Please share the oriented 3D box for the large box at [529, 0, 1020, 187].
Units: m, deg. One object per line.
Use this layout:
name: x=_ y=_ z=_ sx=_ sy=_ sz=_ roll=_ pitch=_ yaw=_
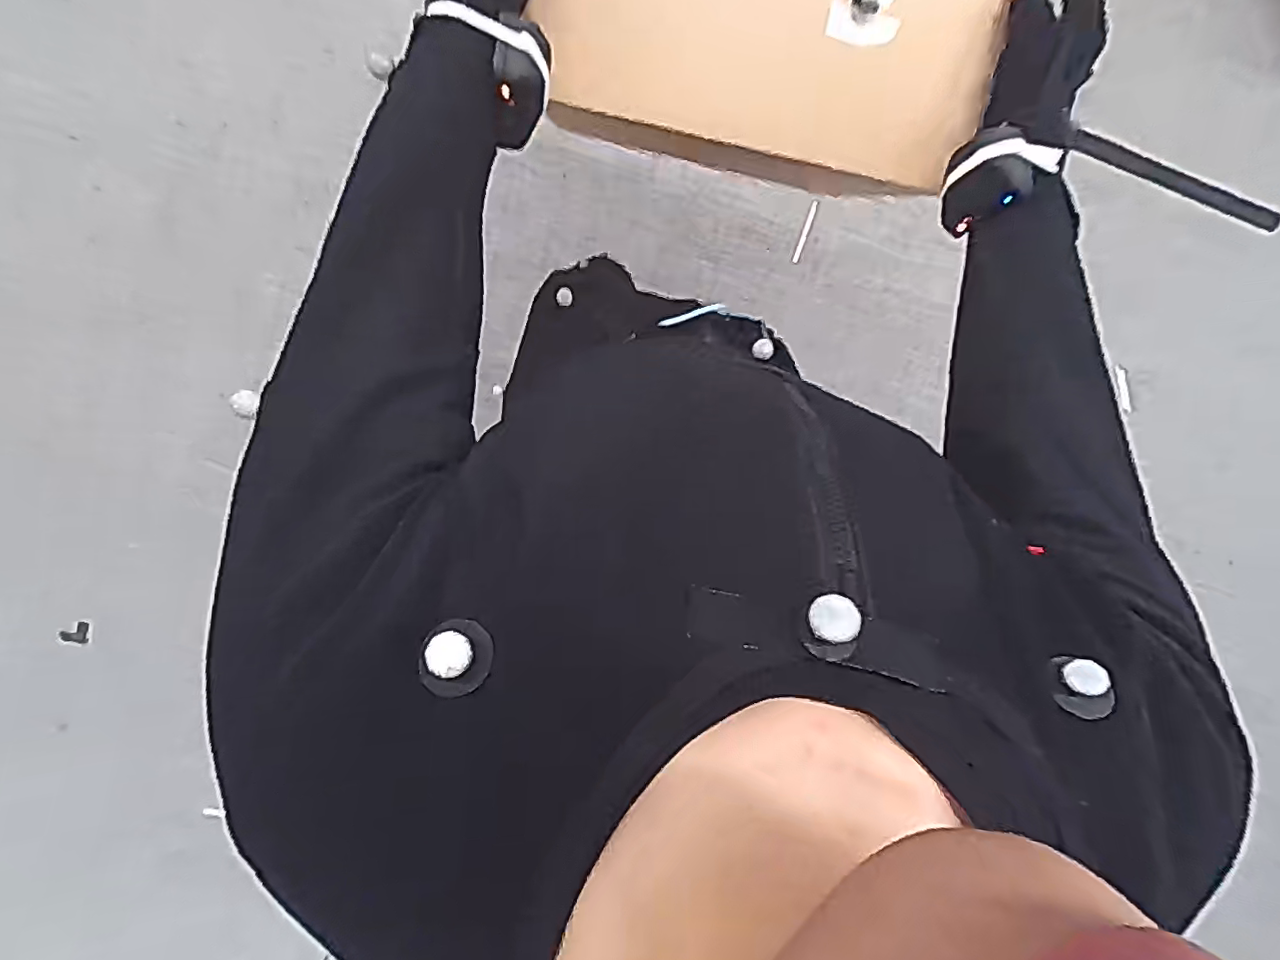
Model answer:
large box: x=0.117 y=-0.510 z=0.551 sx=0.408 sy=0.320 sz=0.320 roll=9 pitch=118 yaw=-7
